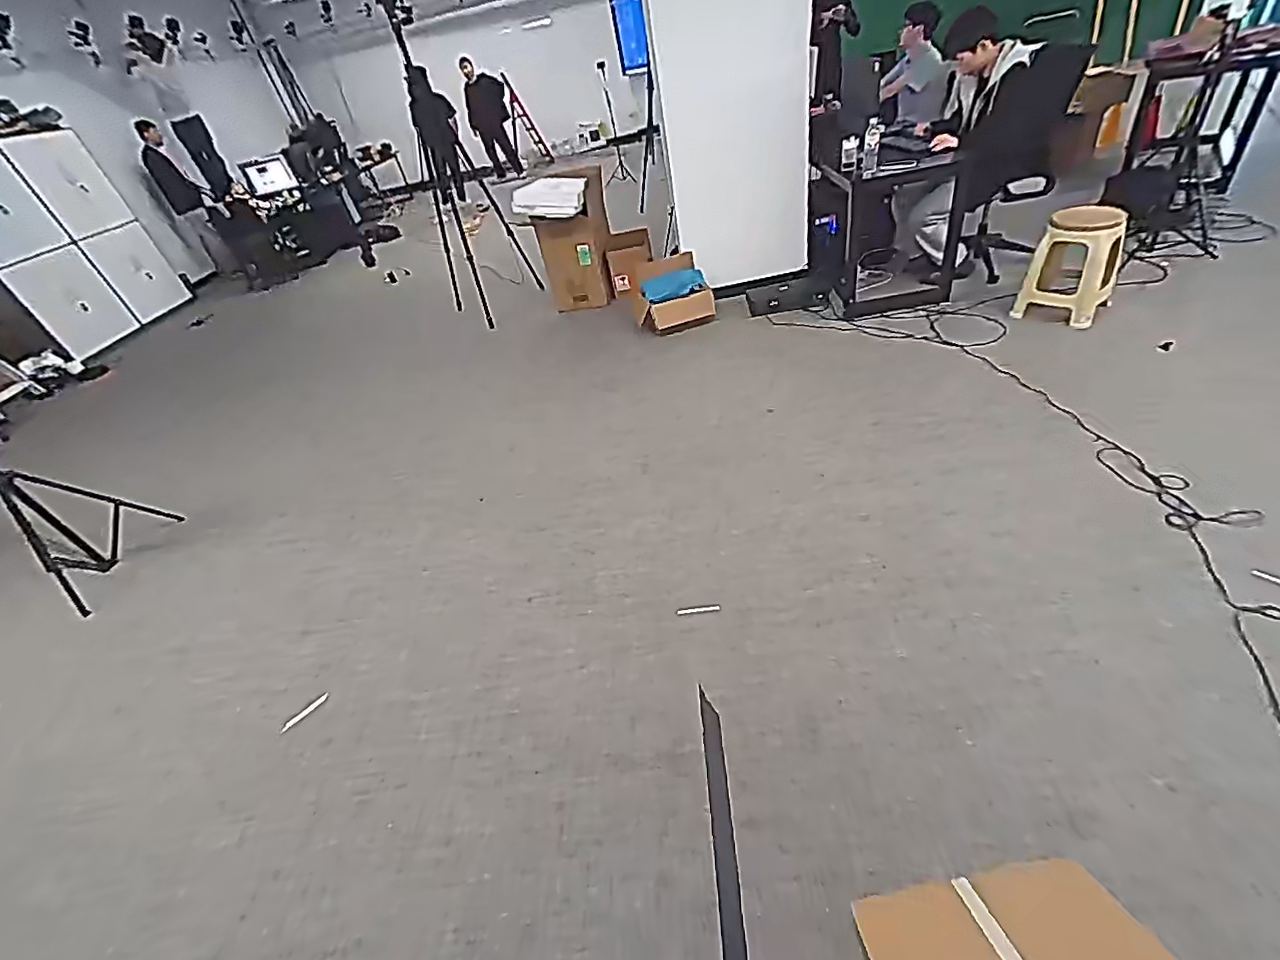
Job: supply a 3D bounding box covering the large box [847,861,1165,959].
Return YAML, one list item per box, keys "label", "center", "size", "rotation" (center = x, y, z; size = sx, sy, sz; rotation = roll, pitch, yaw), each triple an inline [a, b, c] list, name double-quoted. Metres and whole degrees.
- label: "large box"
  center: [0.461, 0.705, 0.554]
  size: [0.320, 0.320, 0.408]
  rotation: [-17, -1, 5]
